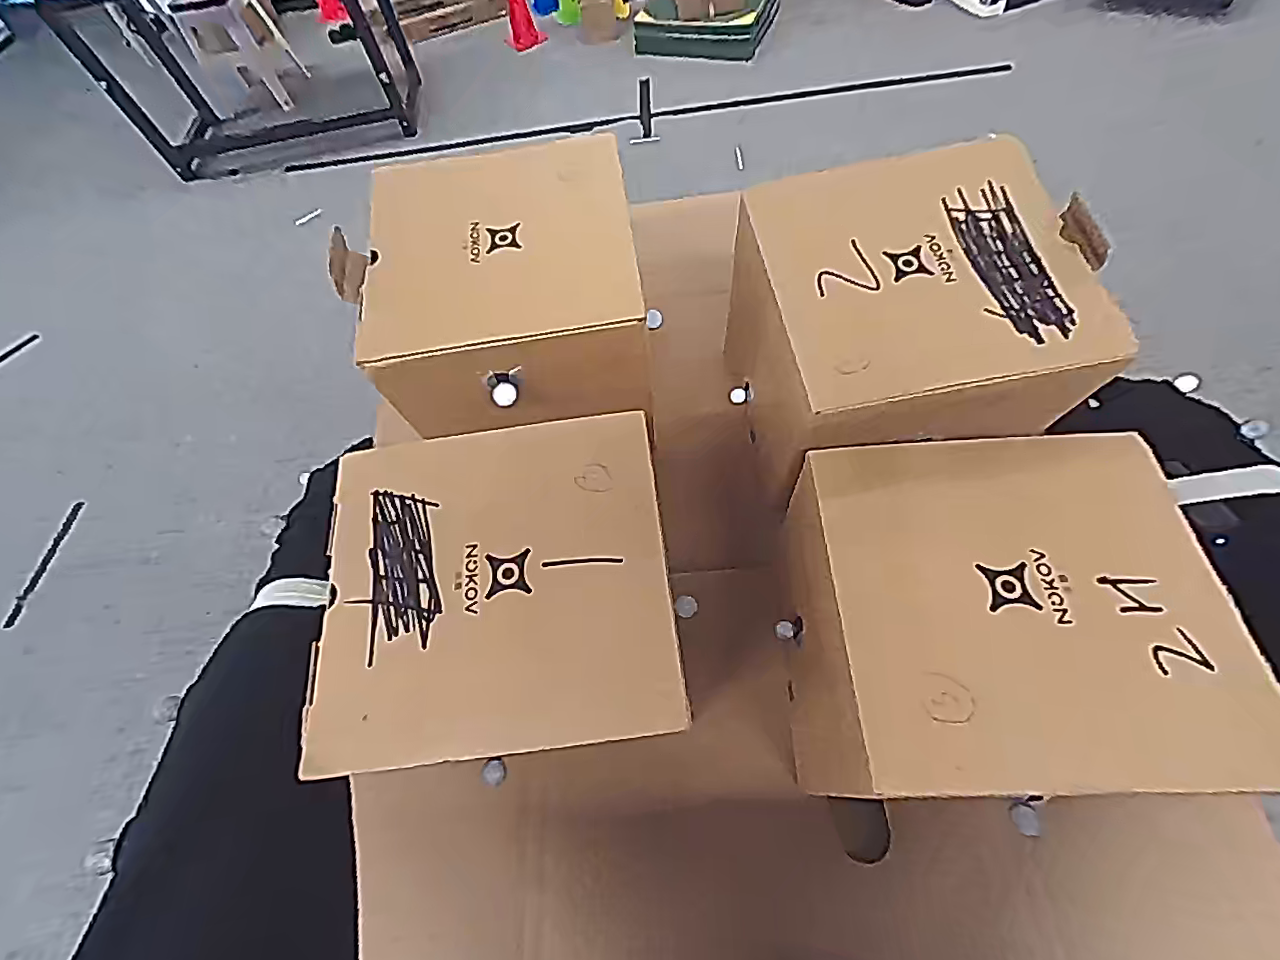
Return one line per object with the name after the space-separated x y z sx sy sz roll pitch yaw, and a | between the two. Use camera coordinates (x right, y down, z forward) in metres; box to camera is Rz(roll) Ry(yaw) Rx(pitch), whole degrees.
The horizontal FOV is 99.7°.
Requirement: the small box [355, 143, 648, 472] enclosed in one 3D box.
-0.089 -0.121 0.427 0.179 0.176 0.168 -9 66 2 | small box
